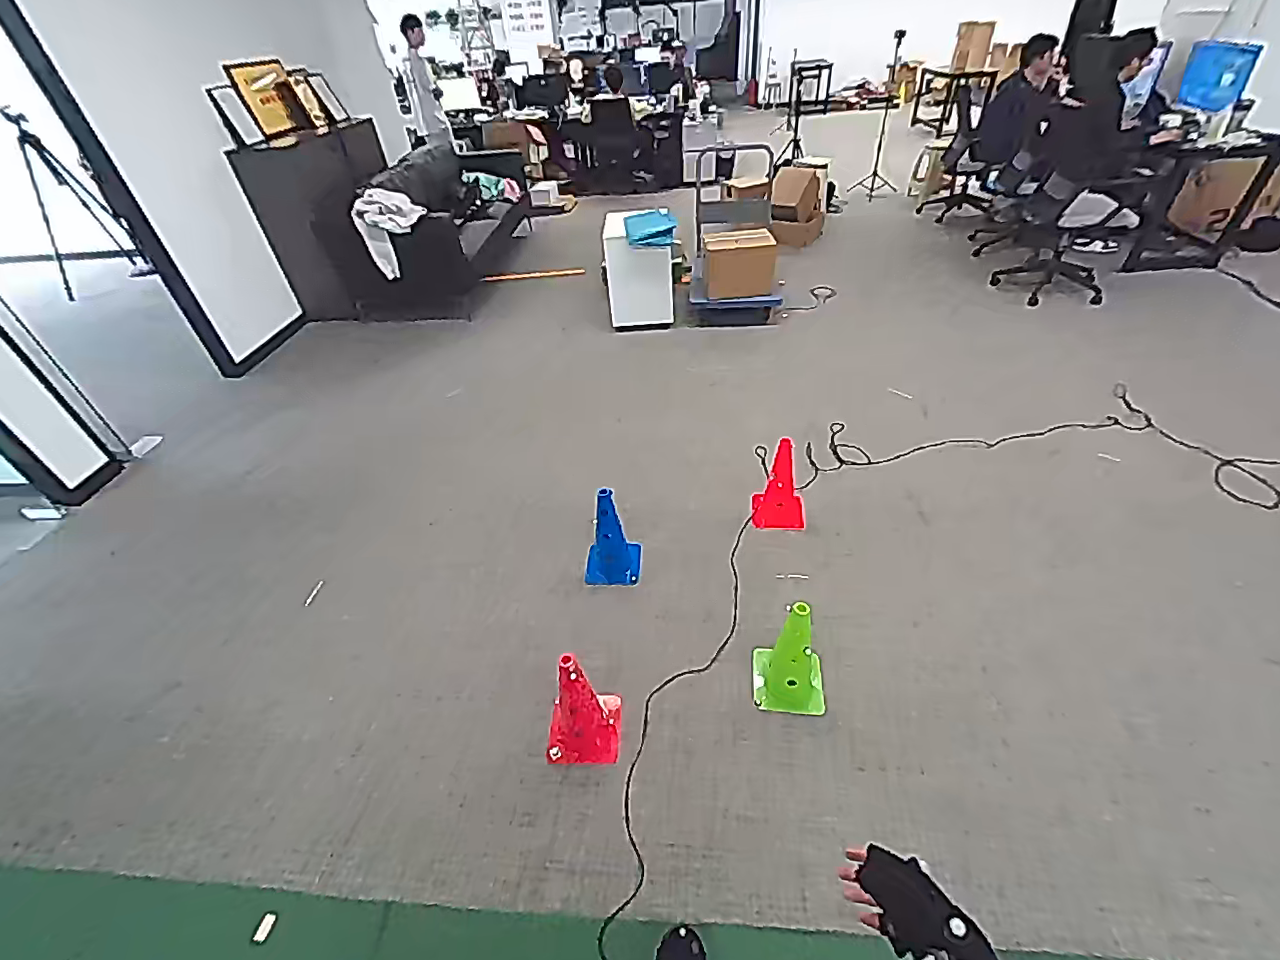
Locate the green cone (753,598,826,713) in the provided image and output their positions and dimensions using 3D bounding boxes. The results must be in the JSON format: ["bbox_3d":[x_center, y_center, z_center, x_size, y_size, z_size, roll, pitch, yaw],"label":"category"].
[{"bbox_3d":[0.431,0.462,1.504,0.200,0.368,0.202,2,39,8],"label":"green cone"}]

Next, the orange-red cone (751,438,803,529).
[{"bbox_3d":[0.533,-0.006,2.057,0.198,0.360,0.199,2,42,10],"label":"orange-red cone"}]
